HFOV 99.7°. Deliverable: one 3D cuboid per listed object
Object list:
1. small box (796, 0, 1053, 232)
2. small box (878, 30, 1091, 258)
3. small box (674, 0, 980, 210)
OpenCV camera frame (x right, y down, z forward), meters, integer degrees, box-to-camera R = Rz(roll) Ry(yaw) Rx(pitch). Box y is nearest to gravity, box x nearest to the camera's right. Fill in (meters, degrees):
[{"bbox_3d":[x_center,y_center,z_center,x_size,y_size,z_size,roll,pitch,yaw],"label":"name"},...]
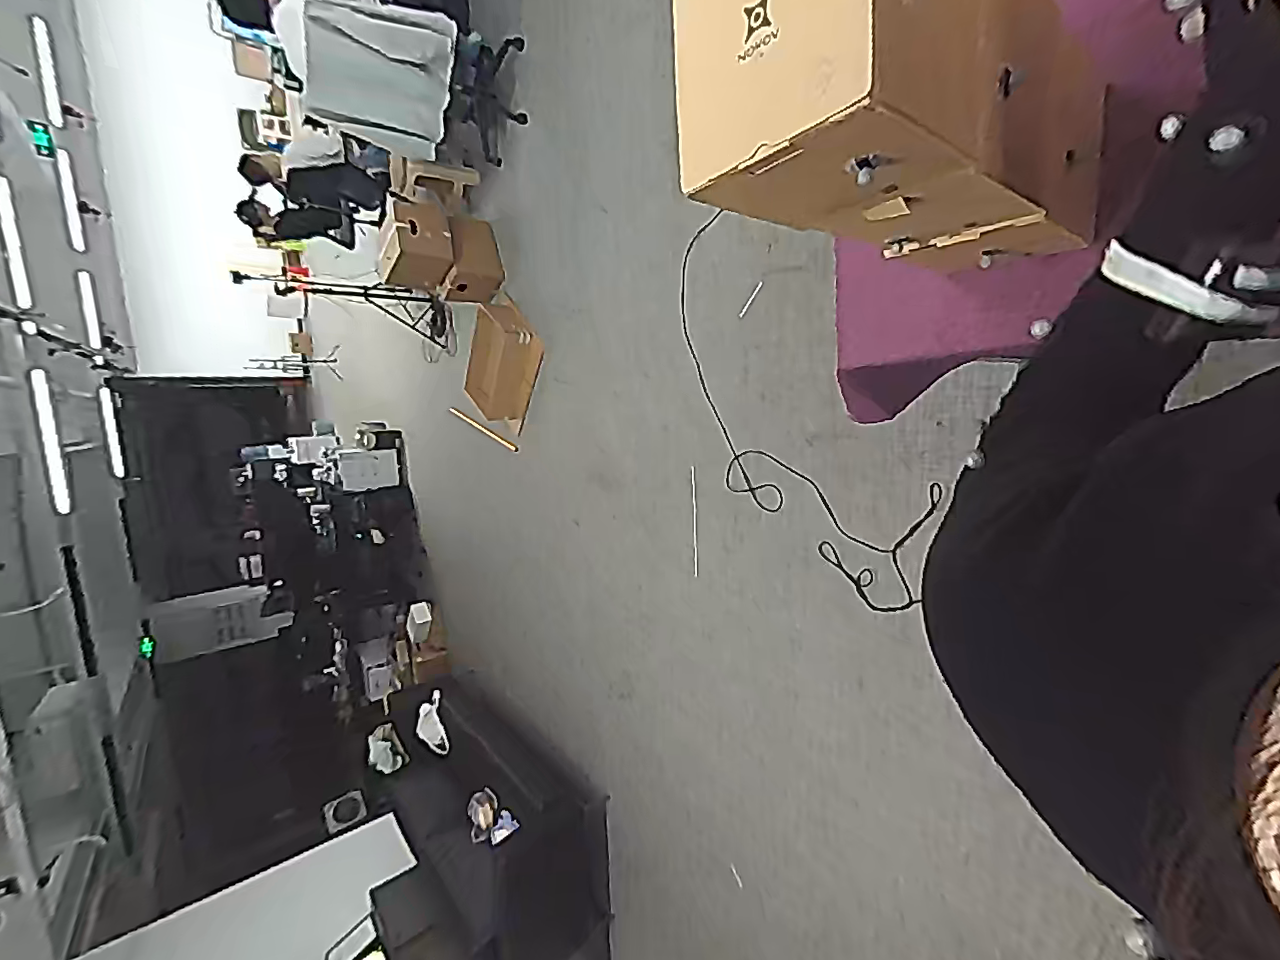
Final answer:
[{"bbox_3d":[0.270,-0.352,0.522,0.168,0.176,0.179,10,104,50],"label":"small box"},{"bbox_3d":[0.397,-0.366,0.627,0.168,0.176,0.179,8,104,49],"label":"small box"},{"bbox_3d":[0.144,-0.328,0.421,0.168,0.176,0.179,7,102,50],"label":"small box"}]
